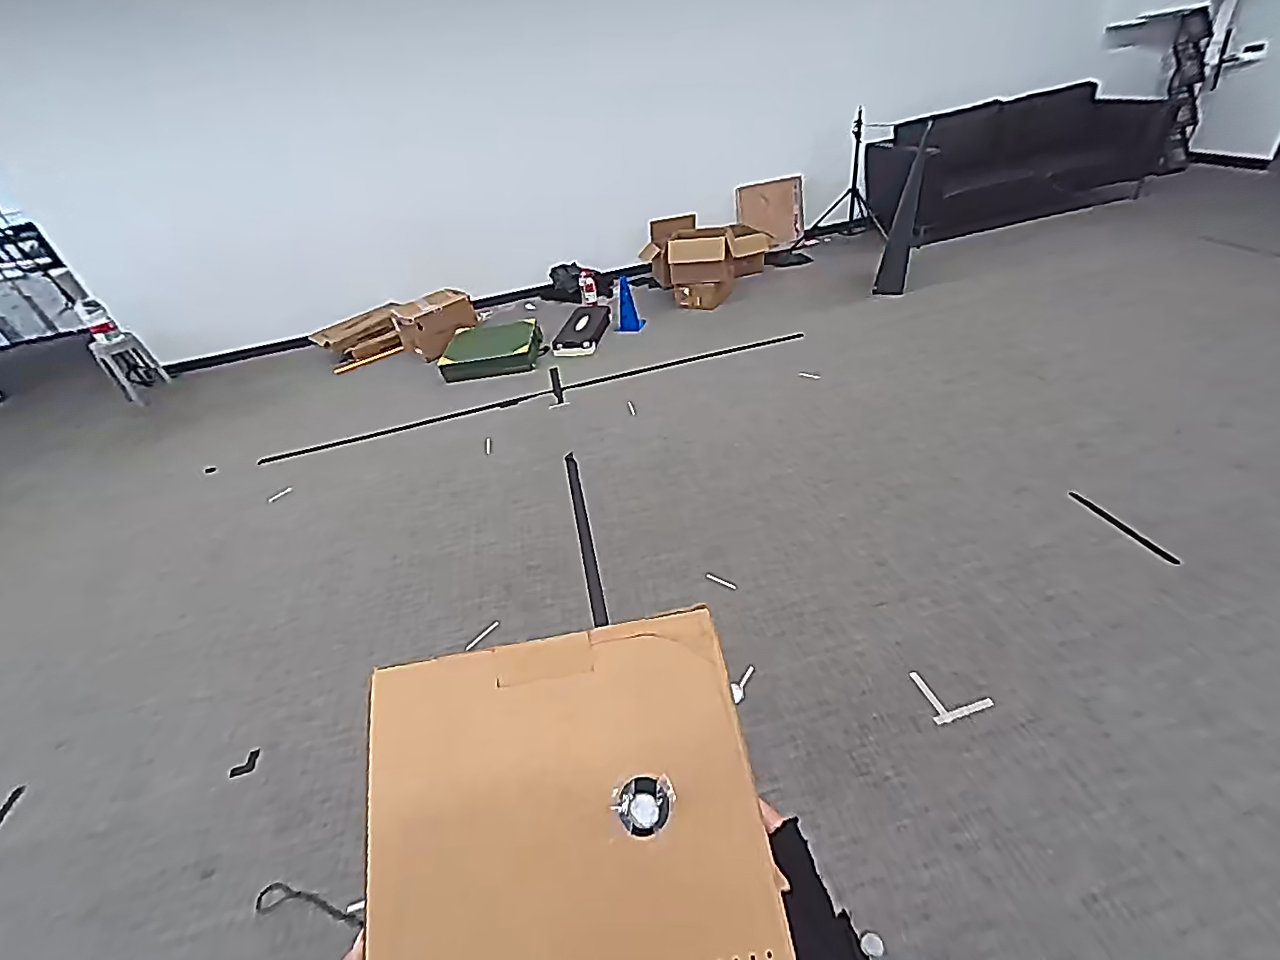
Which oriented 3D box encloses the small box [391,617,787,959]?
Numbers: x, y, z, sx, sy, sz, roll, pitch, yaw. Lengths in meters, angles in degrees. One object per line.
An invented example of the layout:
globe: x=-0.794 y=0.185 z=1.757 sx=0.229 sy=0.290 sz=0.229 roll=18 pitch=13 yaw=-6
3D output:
small box: x=-0.024 y=0.192 z=0.317 sx=0.168 sy=0.179 sz=0.176 roll=-10 pitch=67 yaw=-1
